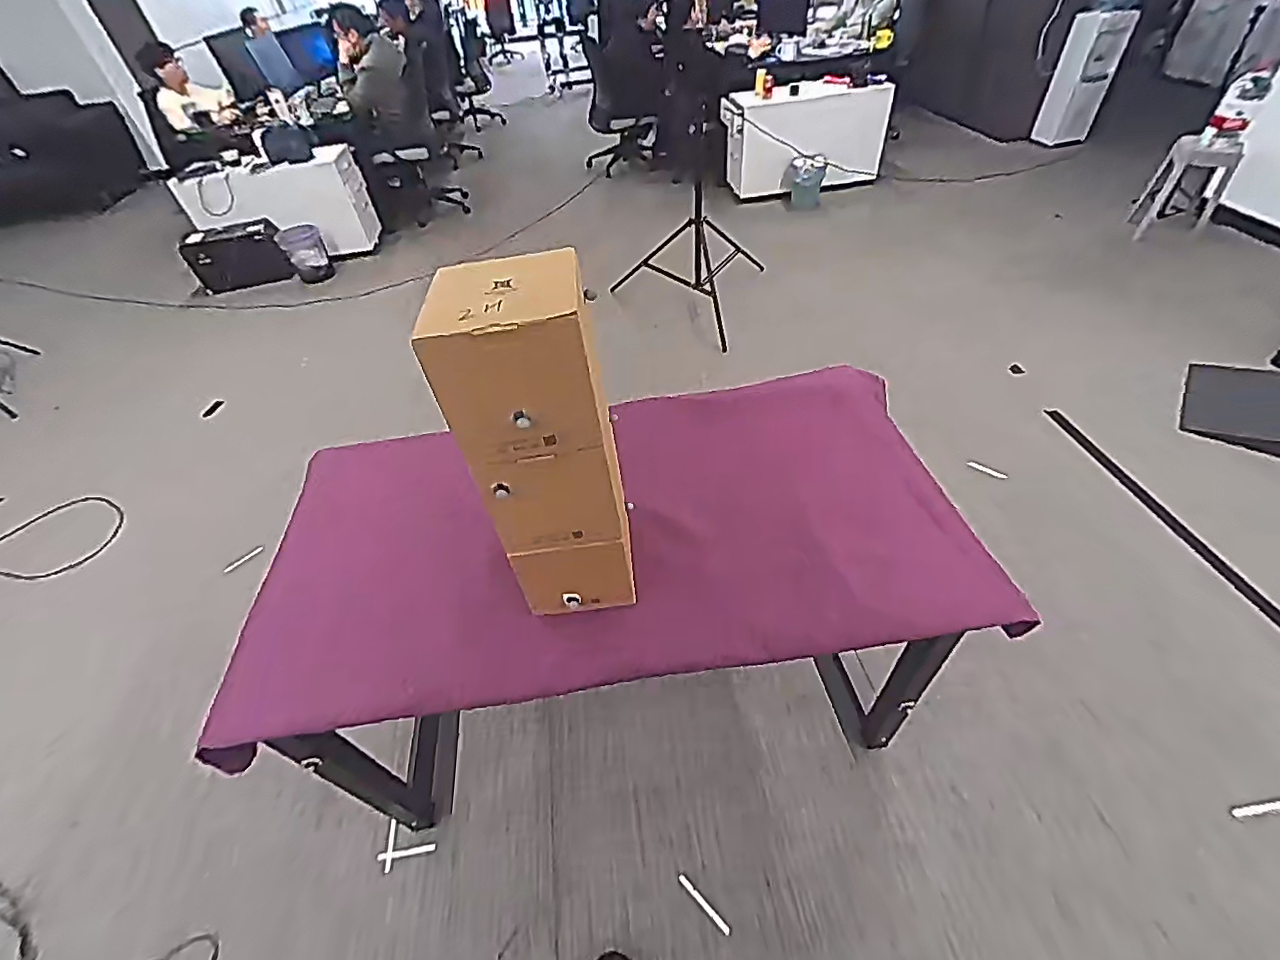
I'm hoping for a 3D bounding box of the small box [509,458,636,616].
[{"bbox_3d":[-0.101,0.091,0.863,0.168,0.176,0.179,-8,46,0],"label":"small box"}]

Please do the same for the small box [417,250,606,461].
[{"bbox_3d":[-0.136,-0.147,0.638,0.168,0.176,0.179,-9,44,0],"label":"small box"}]
